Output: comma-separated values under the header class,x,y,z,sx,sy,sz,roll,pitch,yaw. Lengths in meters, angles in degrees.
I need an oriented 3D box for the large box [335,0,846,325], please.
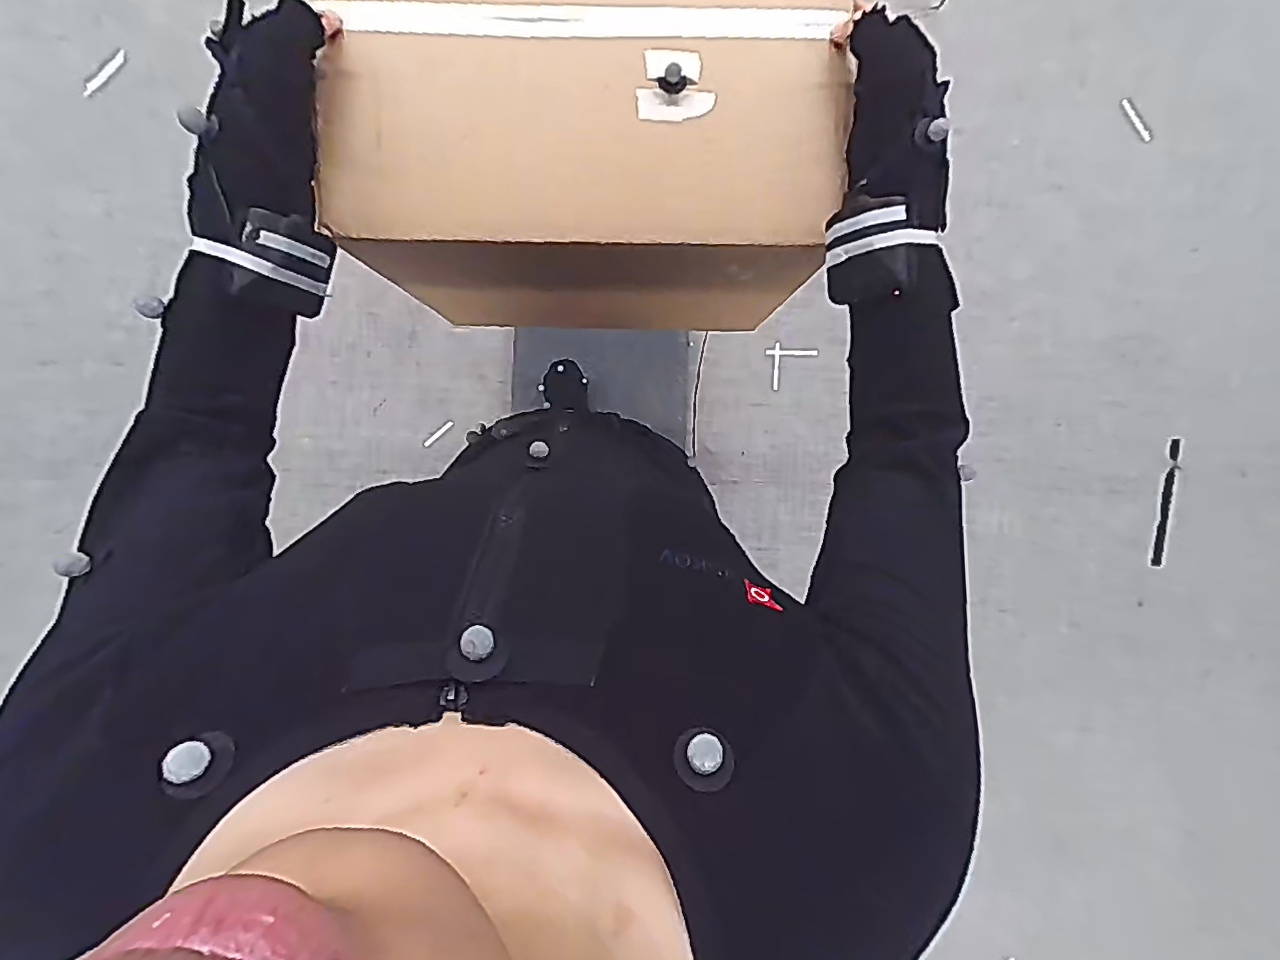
class,x,y,z,sx,sy,sz,roll,pitch,yaw
large box,-0.042,-0.355,0.570,0.408,0.320,0.320,0,94,-1
